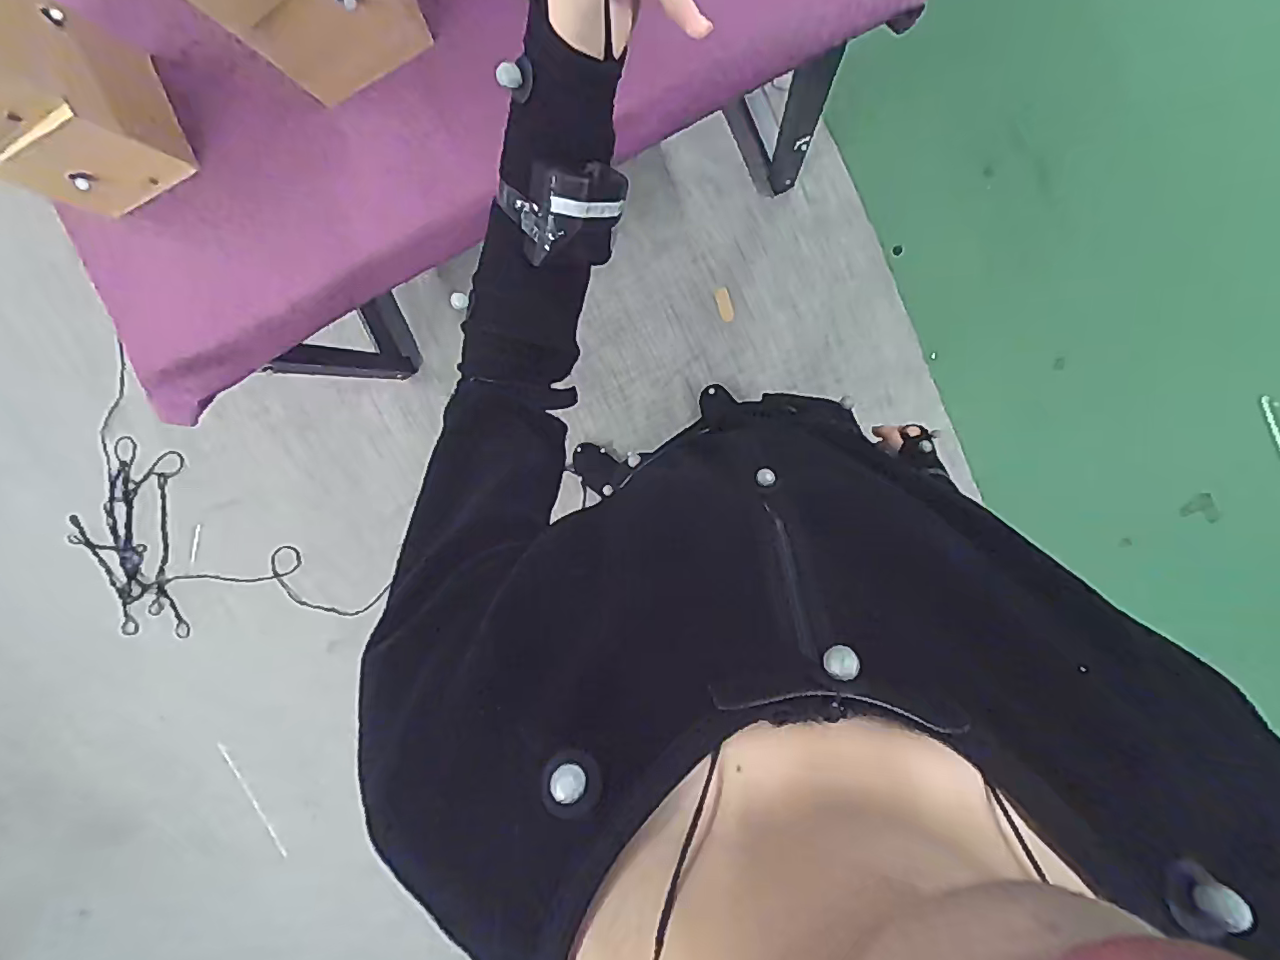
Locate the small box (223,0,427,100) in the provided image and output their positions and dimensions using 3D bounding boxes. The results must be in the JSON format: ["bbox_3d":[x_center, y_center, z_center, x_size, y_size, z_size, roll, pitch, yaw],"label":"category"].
[{"bbox_3d":[-0.386,-0.614,0.650,0.179,0.176,0.168,-22,94,11],"label":"small box"}]

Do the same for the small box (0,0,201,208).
[{"bbox_3d":[-0.750,-0.493,0.724,0.168,0.176,0.179,-21,94,11],"label":"small box"}]

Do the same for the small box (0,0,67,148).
[{"bbox_3d":[-0.778,-0.477,0.562,0.168,0.176,0.179,-26,94,10],"label":"small box"}]
